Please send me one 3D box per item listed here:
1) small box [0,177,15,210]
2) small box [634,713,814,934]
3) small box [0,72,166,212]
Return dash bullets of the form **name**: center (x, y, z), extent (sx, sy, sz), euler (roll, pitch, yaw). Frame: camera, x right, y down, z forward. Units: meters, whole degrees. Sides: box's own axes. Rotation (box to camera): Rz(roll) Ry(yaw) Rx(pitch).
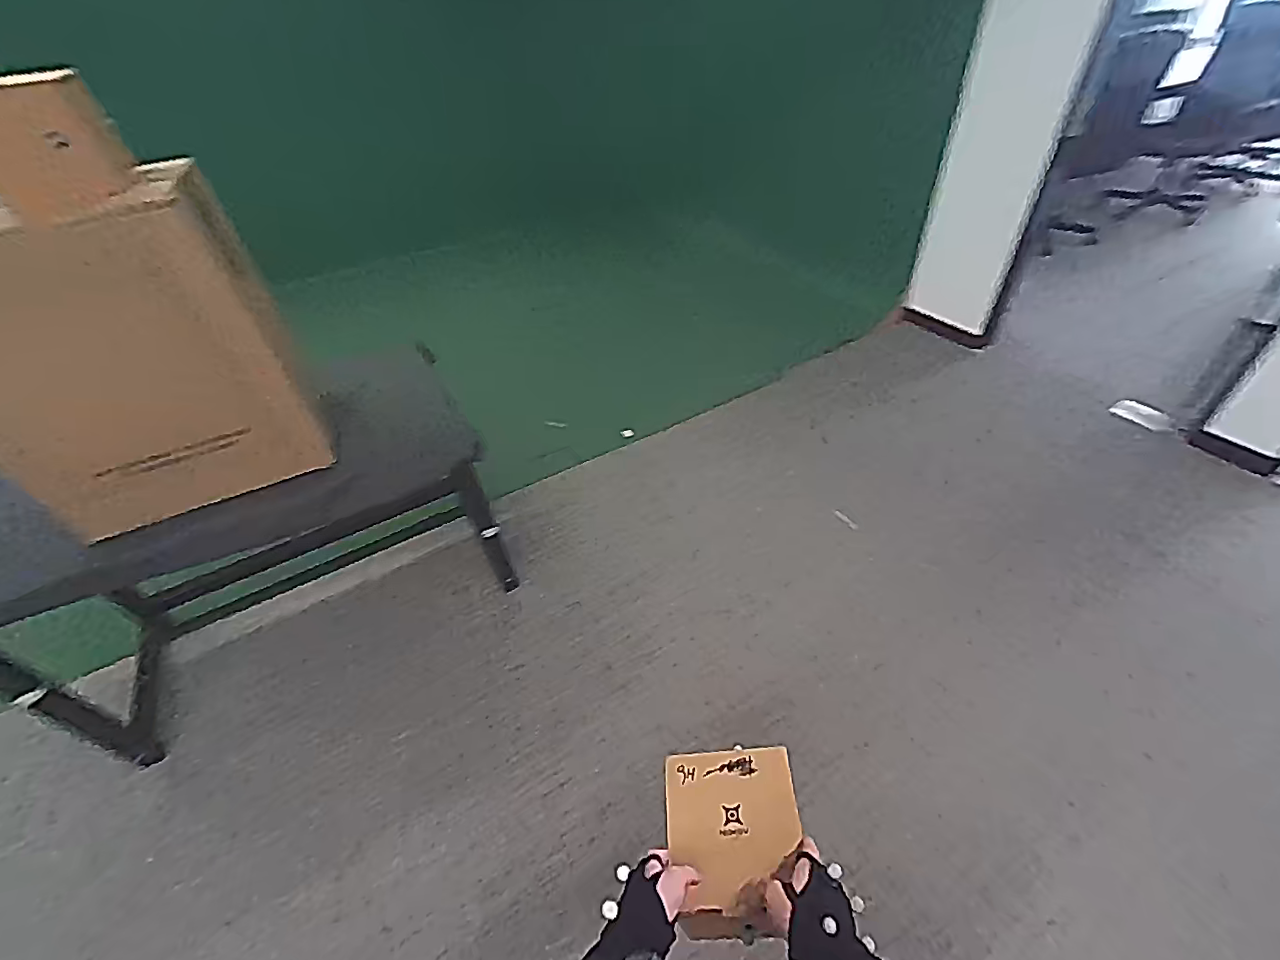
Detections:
- **small box**: center (-1.228, -0.512, 0.892), extent (0.179, 0.176, 0.168), euler (-21, 49, -14)
- **small box**: center (0.121, 0.466, 0.736), extent (0.179, 0.176, 0.168), euler (-30, 42, -15)
- **small box**: center (-1.008, -0.607, 0.970), extent (0.179, 0.176, 0.168), euler (-22, 46, -15)
